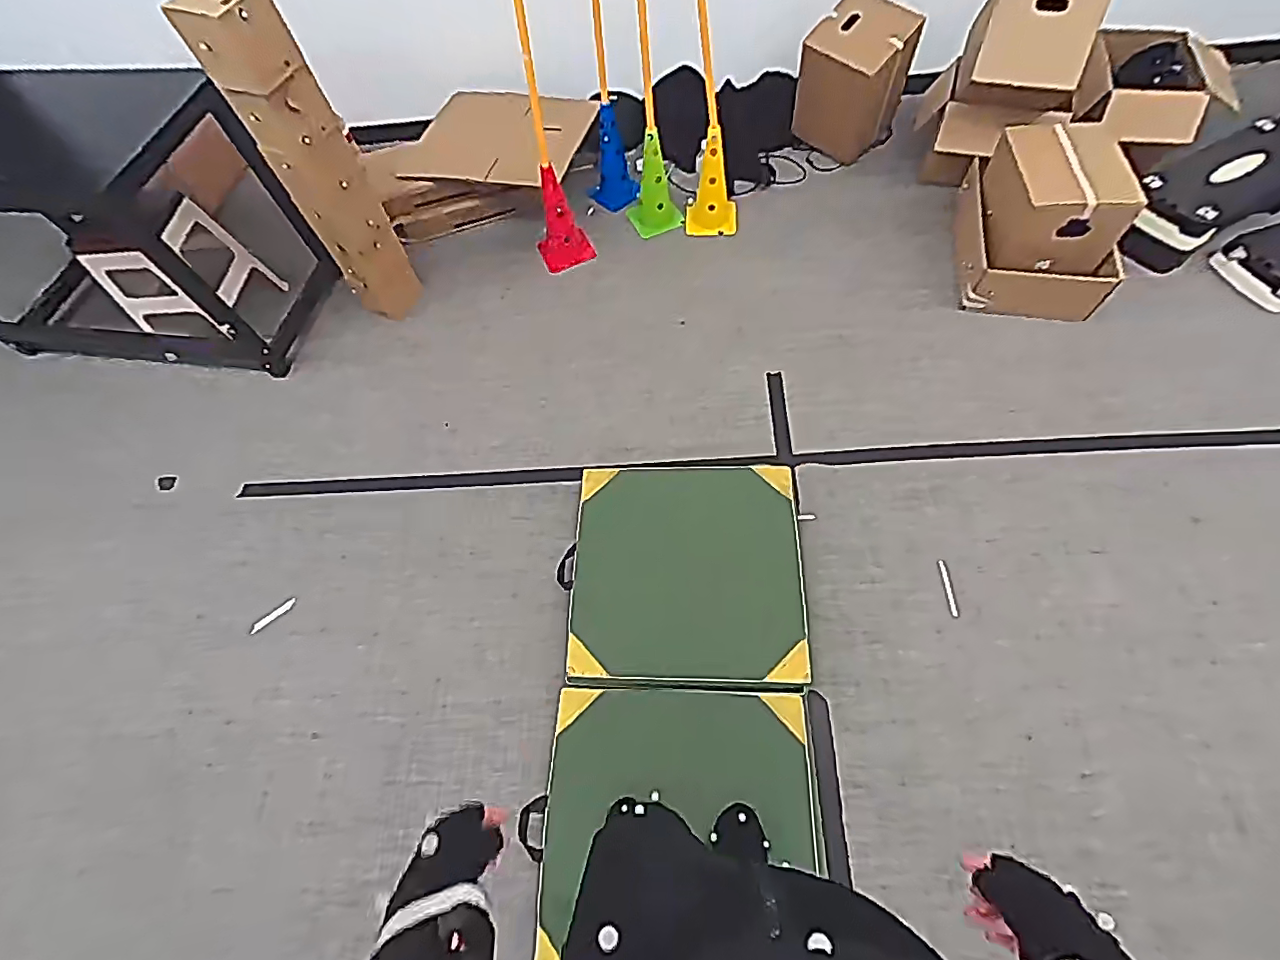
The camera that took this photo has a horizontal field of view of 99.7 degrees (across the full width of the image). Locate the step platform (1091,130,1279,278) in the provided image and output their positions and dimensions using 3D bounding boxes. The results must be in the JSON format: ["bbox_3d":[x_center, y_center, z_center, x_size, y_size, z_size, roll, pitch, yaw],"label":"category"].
[{"bbox_3d":[2.006,-0.986,1.921,0.684,0.204,0.286,-28,63,-9],"label":"step platform"}]
